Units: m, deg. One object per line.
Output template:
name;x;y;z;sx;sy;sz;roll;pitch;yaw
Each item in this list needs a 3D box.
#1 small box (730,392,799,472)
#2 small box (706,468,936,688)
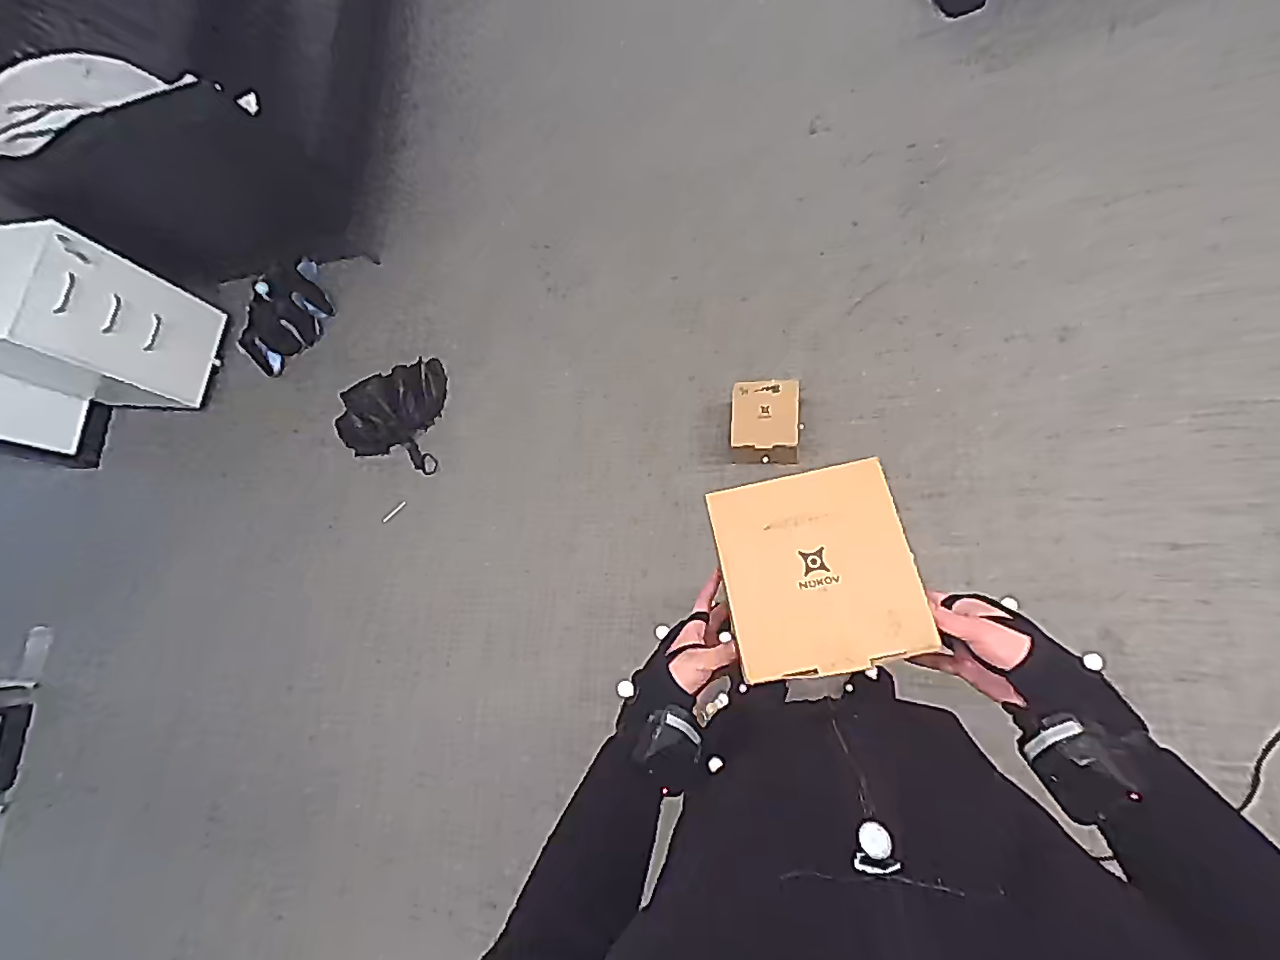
small box;0.336;-0.122;1.444;0.168;0.176;0.179;1;76;16
small box;0.169;0.109;0.562;0.168;0.176;0.179;-12;69;4
